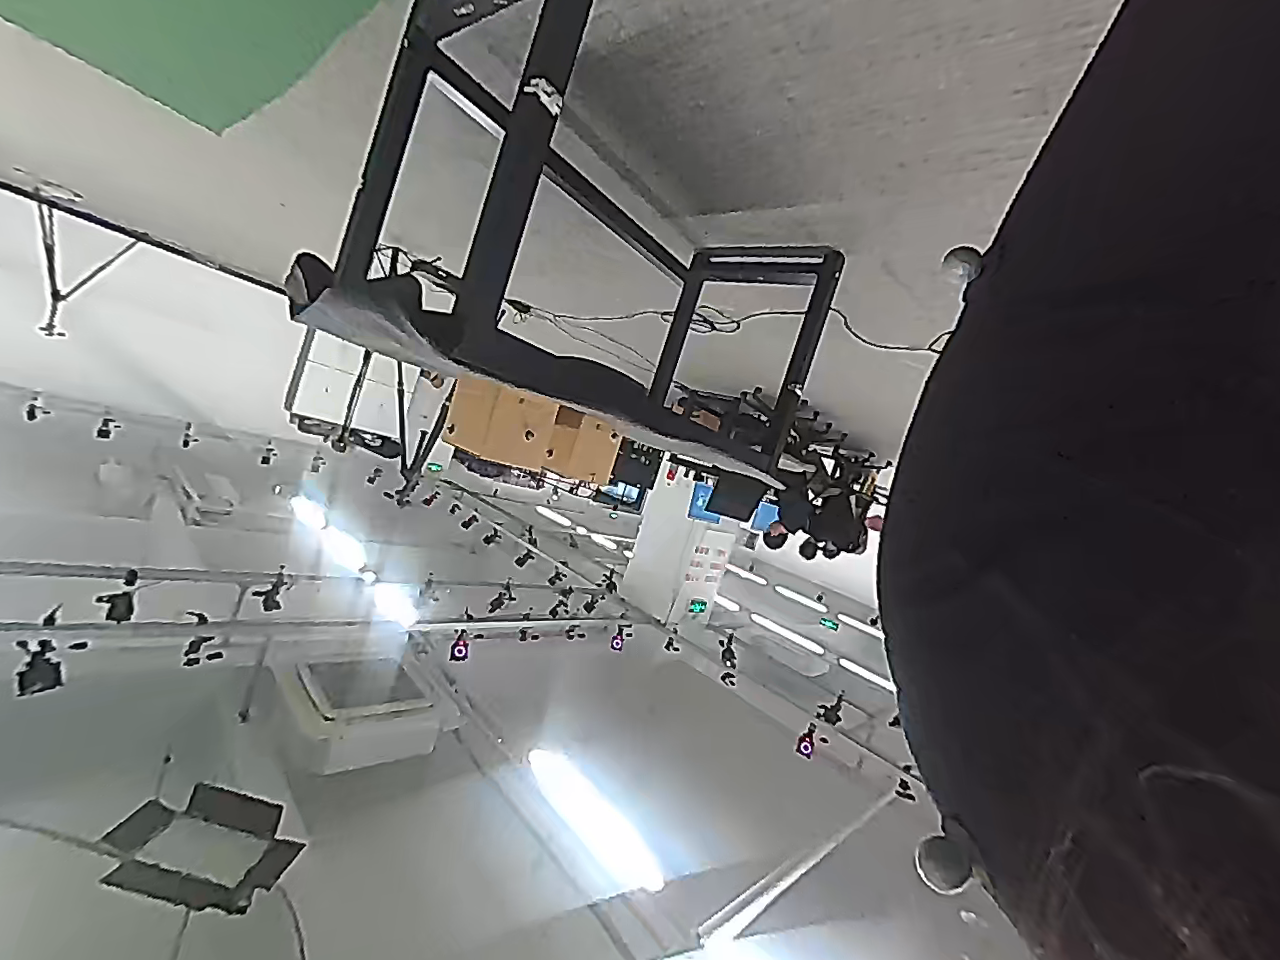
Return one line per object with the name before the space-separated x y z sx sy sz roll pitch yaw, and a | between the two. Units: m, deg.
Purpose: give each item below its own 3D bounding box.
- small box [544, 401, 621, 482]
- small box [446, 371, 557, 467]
small box | -0.168 -0.105 1.435 0.179 0.176 0.168 21 -176 38
small box | -0.310 -0.141 1.235 0.179 0.176 0.168 21 -176 40
